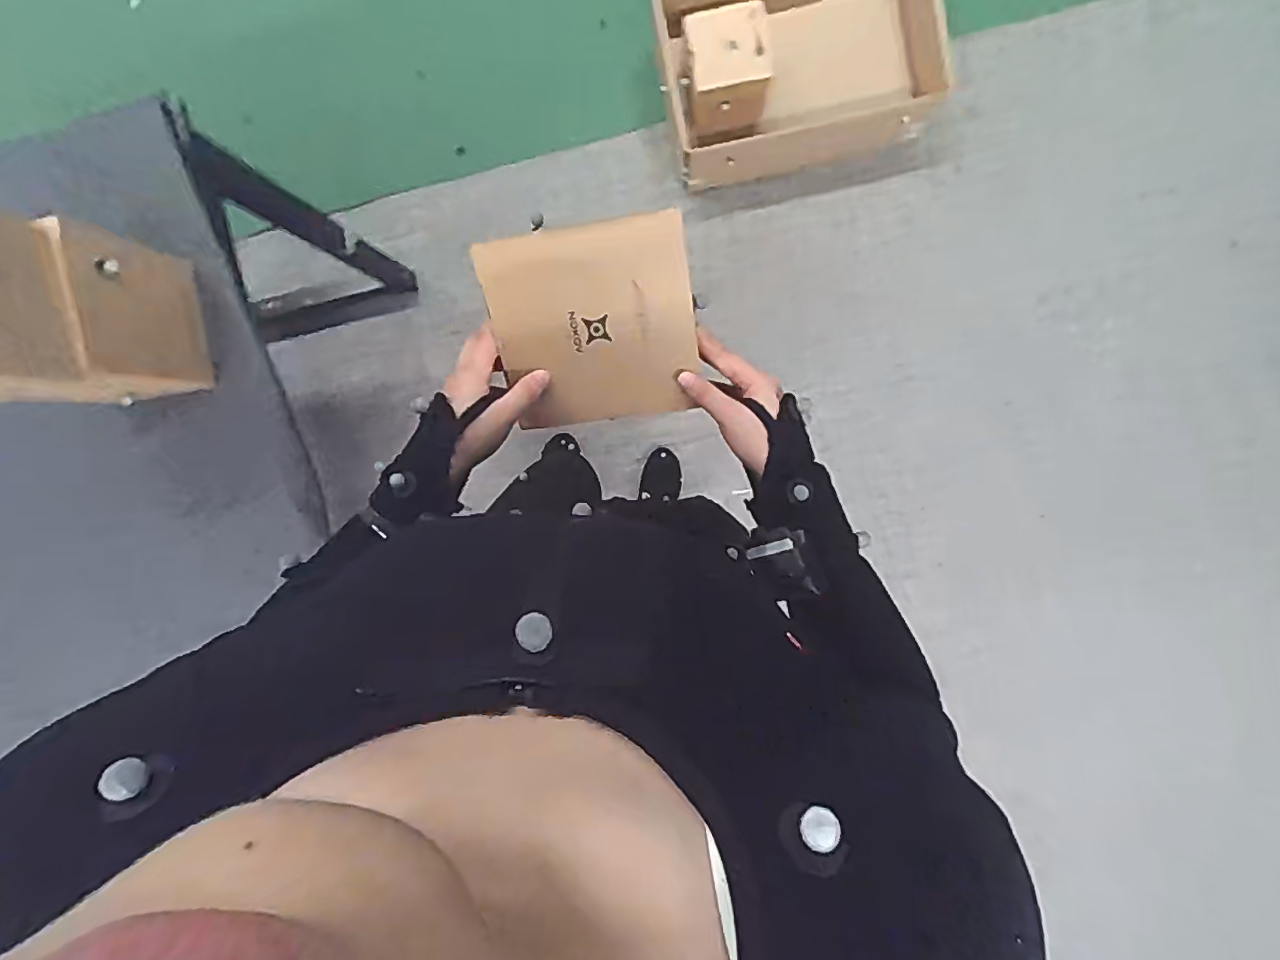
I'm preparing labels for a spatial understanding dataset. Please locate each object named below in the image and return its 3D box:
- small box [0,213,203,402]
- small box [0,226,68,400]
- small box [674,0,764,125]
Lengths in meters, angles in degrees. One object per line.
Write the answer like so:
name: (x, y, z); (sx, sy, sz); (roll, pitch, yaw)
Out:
small box: (-0.697, -0.197, 0.667); (0.168, 0.176, 0.179); (-8, 95, 5)
small box: (-0.715, -0.166, 0.506); (0.168, 0.176, 0.179); (-10, 96, 4)
small box: (0.178, -0.969, 1.263); (0.179, 0.176, 0.168); (-11, 95, 3)
